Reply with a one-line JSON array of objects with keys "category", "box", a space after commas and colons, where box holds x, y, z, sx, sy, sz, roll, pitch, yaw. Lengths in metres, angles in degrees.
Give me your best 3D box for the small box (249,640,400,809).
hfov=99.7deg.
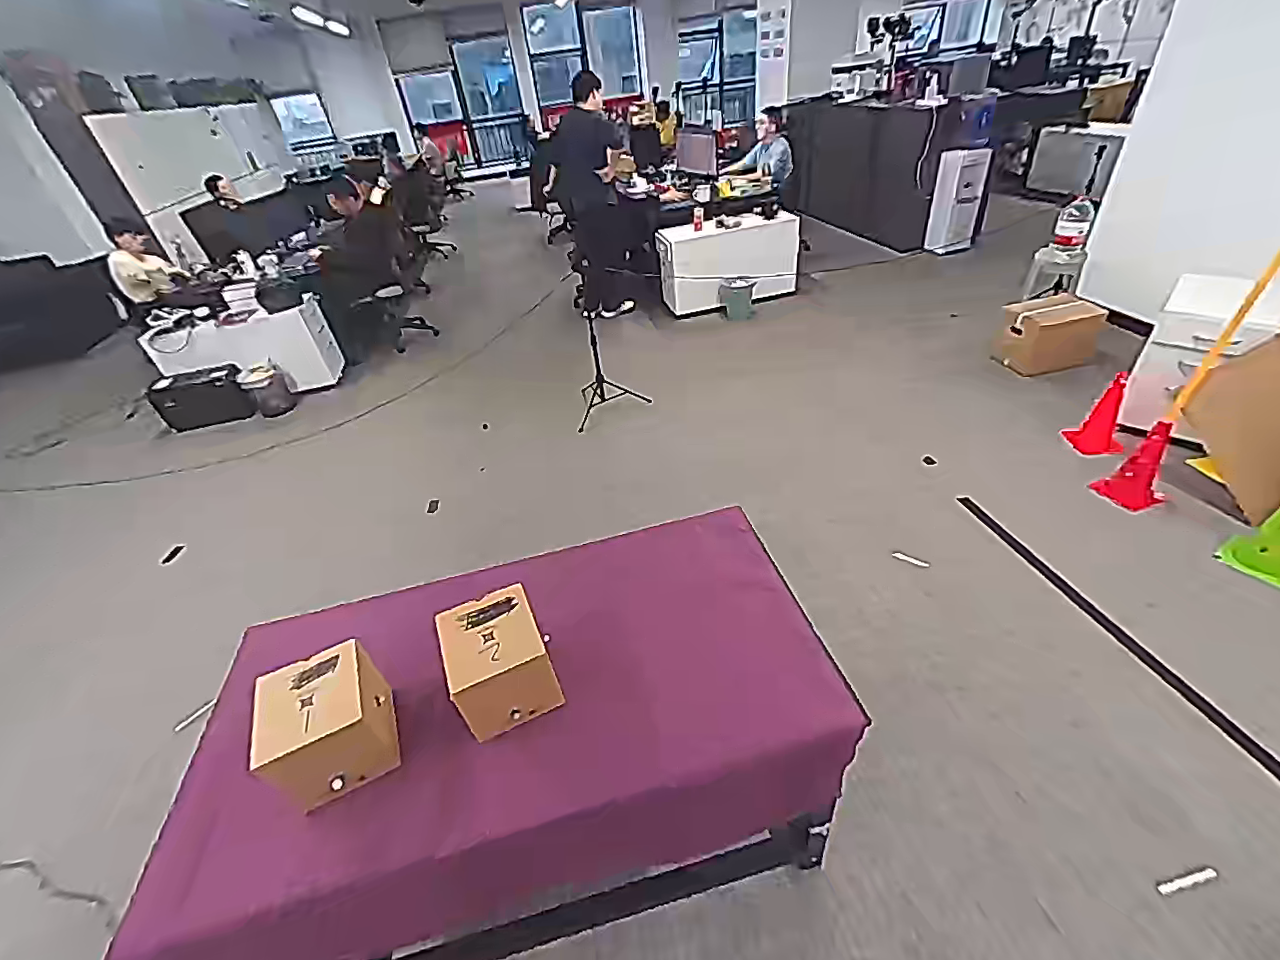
[{"category": "small box", "box": [-0.537, 0.422, 0.937, 0.168, 0.176, 0.179, -22, 40, -17]}]
